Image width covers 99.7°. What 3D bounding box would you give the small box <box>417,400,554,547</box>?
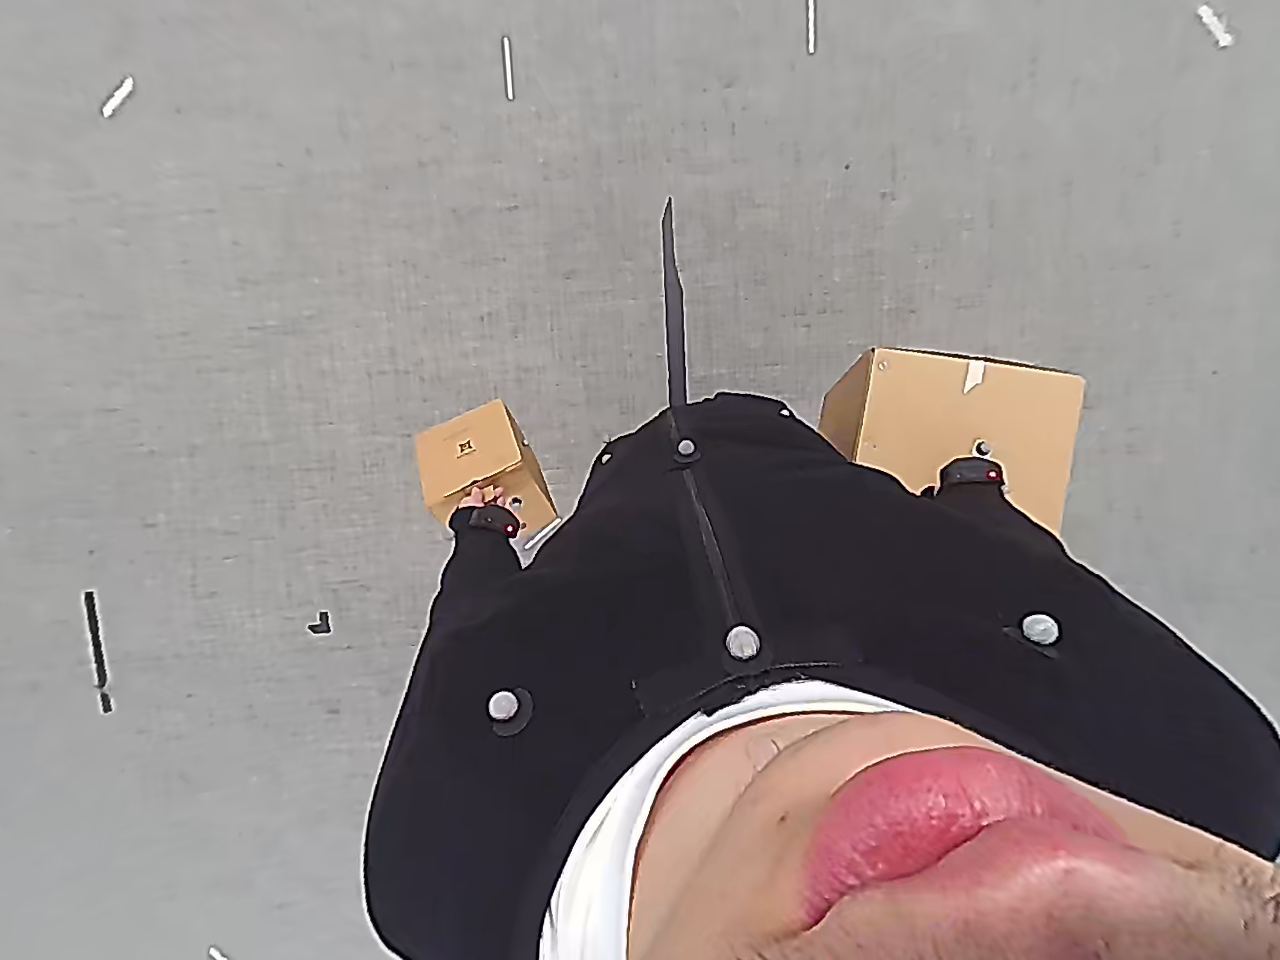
[{"bbox_3d":[-0.270,-0.003,0.963,0.168,0.179,0.176,-25,140,-5],"label":"small box"}]
